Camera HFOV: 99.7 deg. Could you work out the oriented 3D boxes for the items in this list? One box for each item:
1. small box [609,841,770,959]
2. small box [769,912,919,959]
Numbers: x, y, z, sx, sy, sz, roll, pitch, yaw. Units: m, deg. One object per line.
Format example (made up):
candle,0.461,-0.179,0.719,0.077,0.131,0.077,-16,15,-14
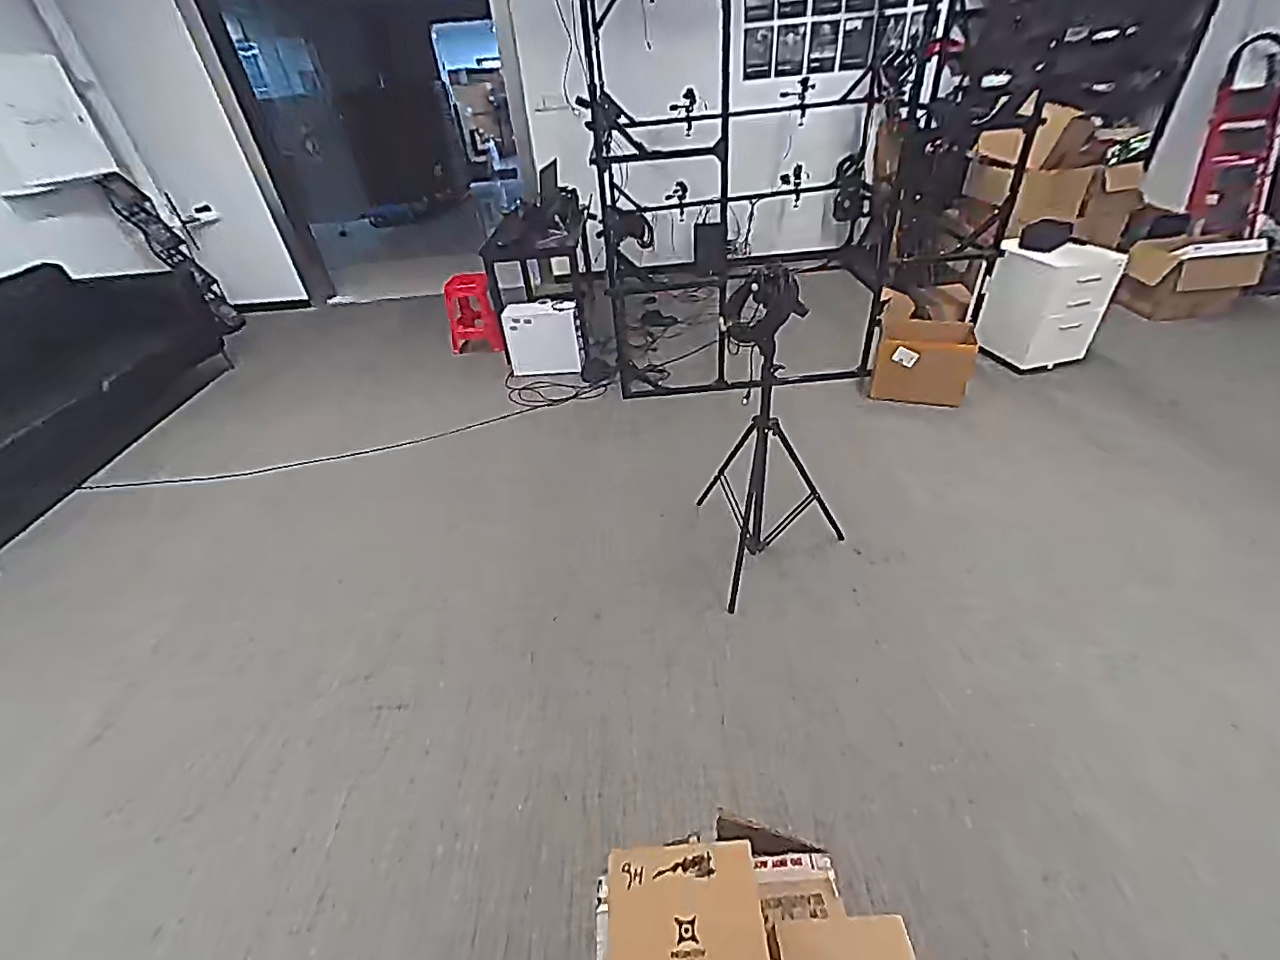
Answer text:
small box,0.058,0.538,0.608,0.168,0.176,0.179,-6,40,1
small box,0.262,0.675,0.675,0.168,0.176,0.179,-4,39,0
